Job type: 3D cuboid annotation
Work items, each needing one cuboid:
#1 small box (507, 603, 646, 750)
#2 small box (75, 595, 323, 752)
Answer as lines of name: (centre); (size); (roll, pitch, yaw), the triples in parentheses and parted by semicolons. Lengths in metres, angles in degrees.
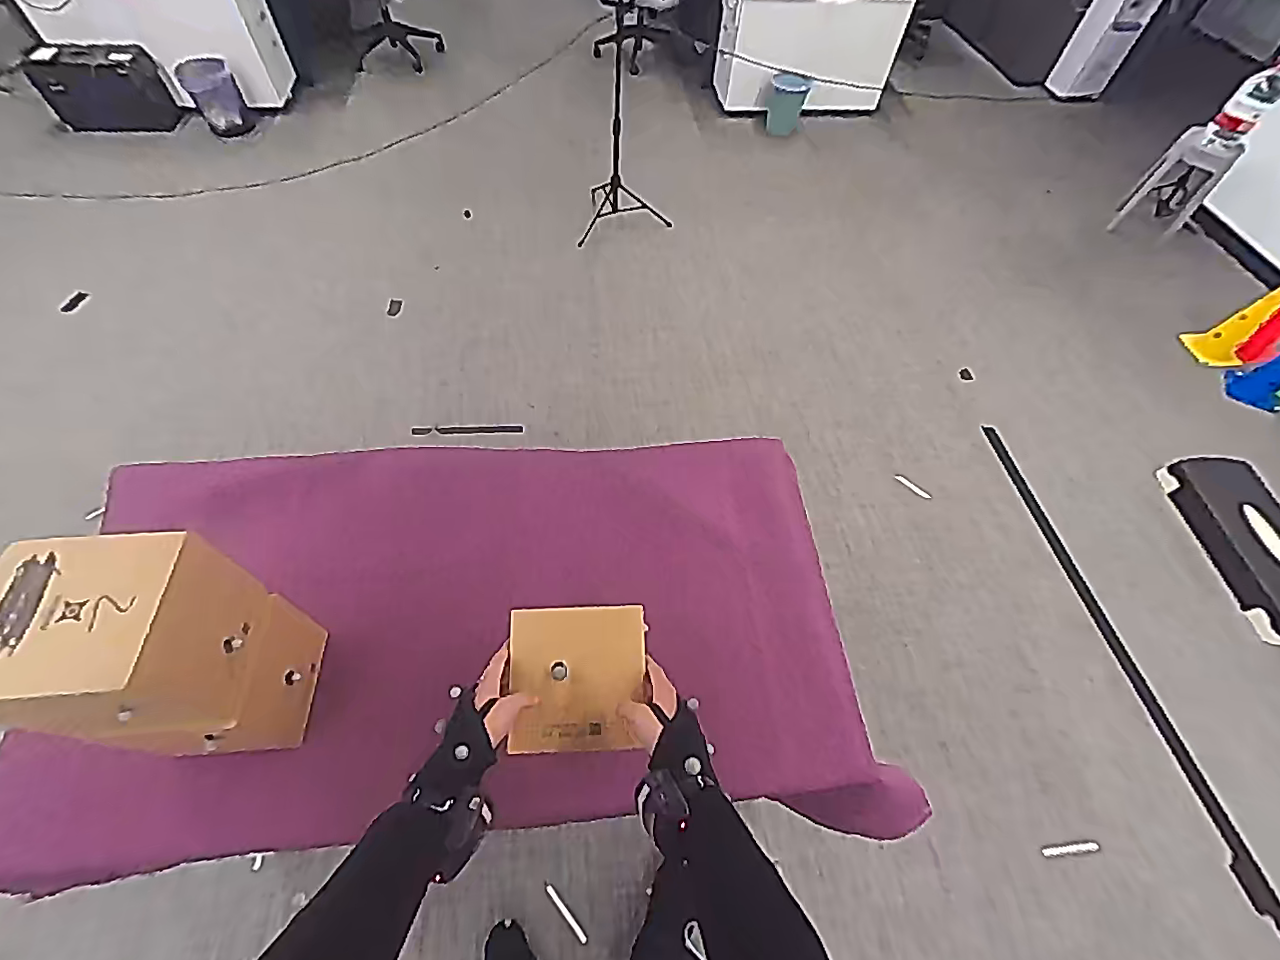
small box: (-0.081, 0.257, 0.728); (0.168, 0.179, 0.176); (-1, 75, -4)
small box: (-0.564, 0.263, 0.728); (0.179, 0.176, 0.168); (-1, 57, -5)
